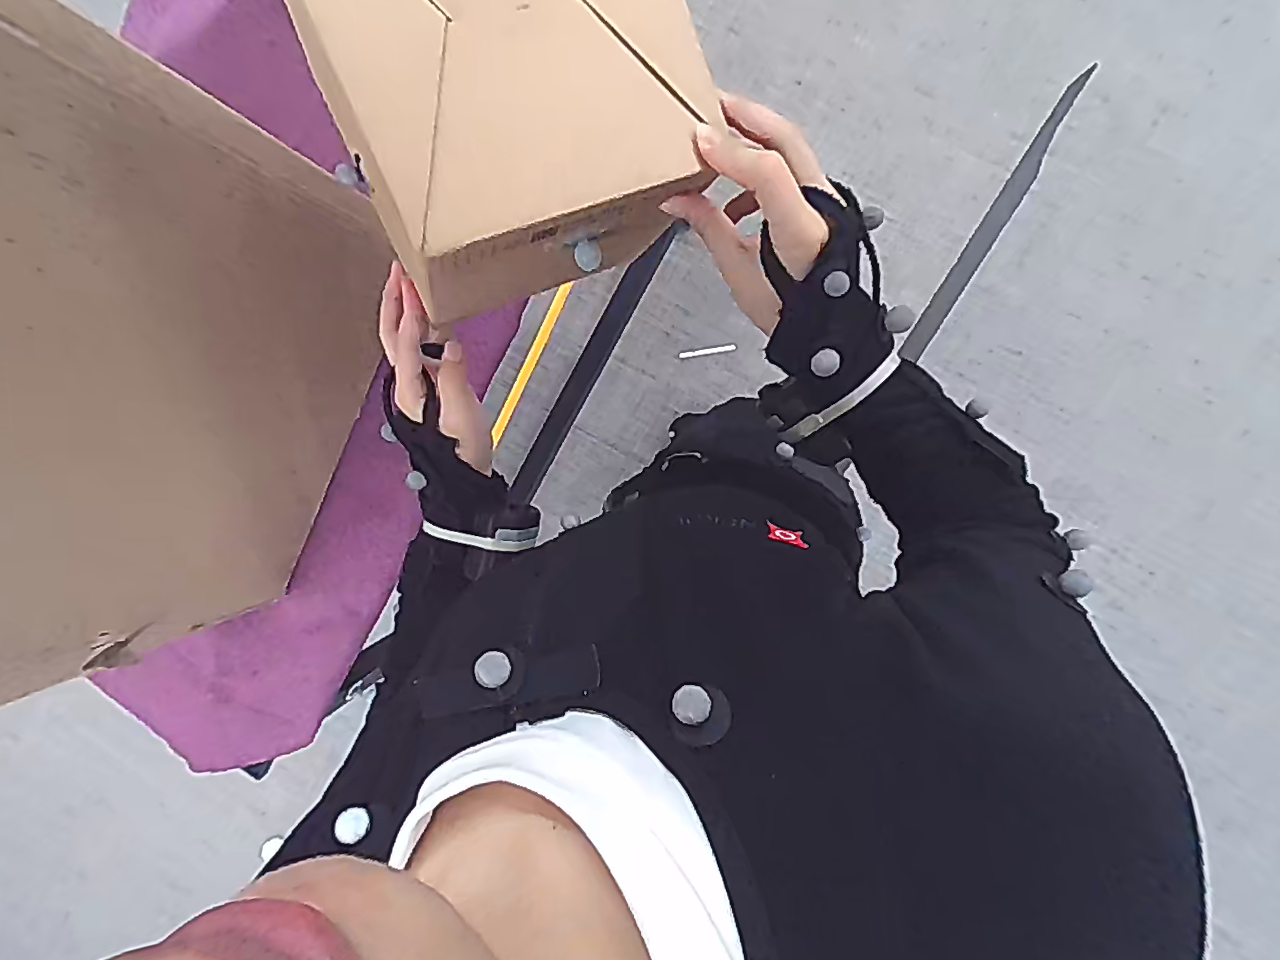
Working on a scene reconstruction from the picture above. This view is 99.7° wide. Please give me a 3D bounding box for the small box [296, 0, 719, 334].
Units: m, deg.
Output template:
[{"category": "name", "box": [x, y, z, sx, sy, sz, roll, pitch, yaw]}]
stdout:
[{"category": "small box", "box": [-0.078, -0.210, 0.316, 0.168, 0.176, 0.179, -25, 101, -16]}]
